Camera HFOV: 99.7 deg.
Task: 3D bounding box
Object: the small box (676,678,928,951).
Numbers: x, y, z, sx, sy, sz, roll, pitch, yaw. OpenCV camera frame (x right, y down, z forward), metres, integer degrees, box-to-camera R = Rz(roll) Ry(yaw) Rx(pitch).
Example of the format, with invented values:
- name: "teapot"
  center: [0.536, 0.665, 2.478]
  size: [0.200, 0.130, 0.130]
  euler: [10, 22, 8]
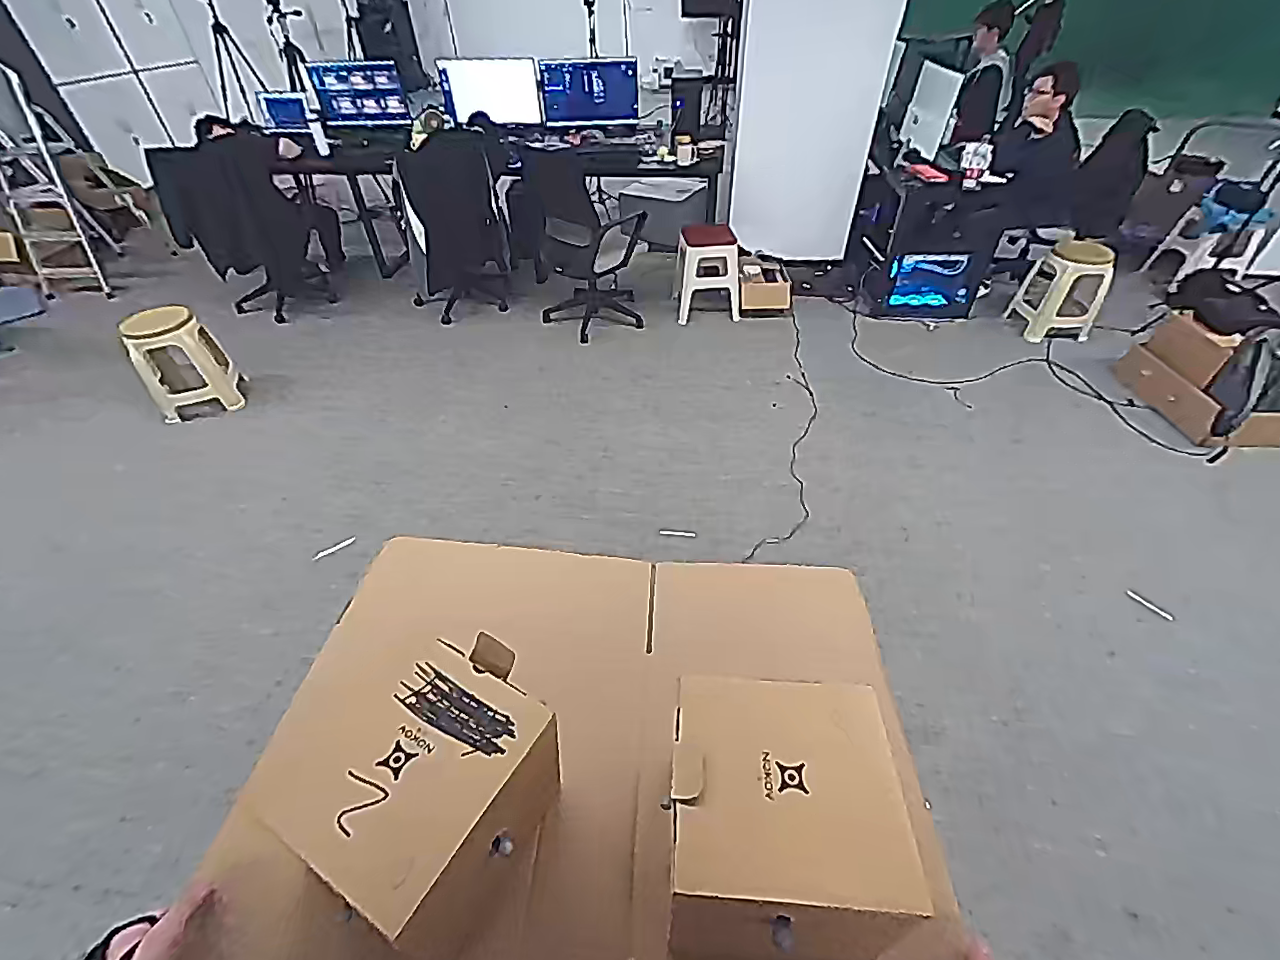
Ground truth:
- name: "small box"
  center: [0.123, 0.302, 0.491]
  size: [0.179, 0.176, 0.168]
  euler: [1, 40, 5]
